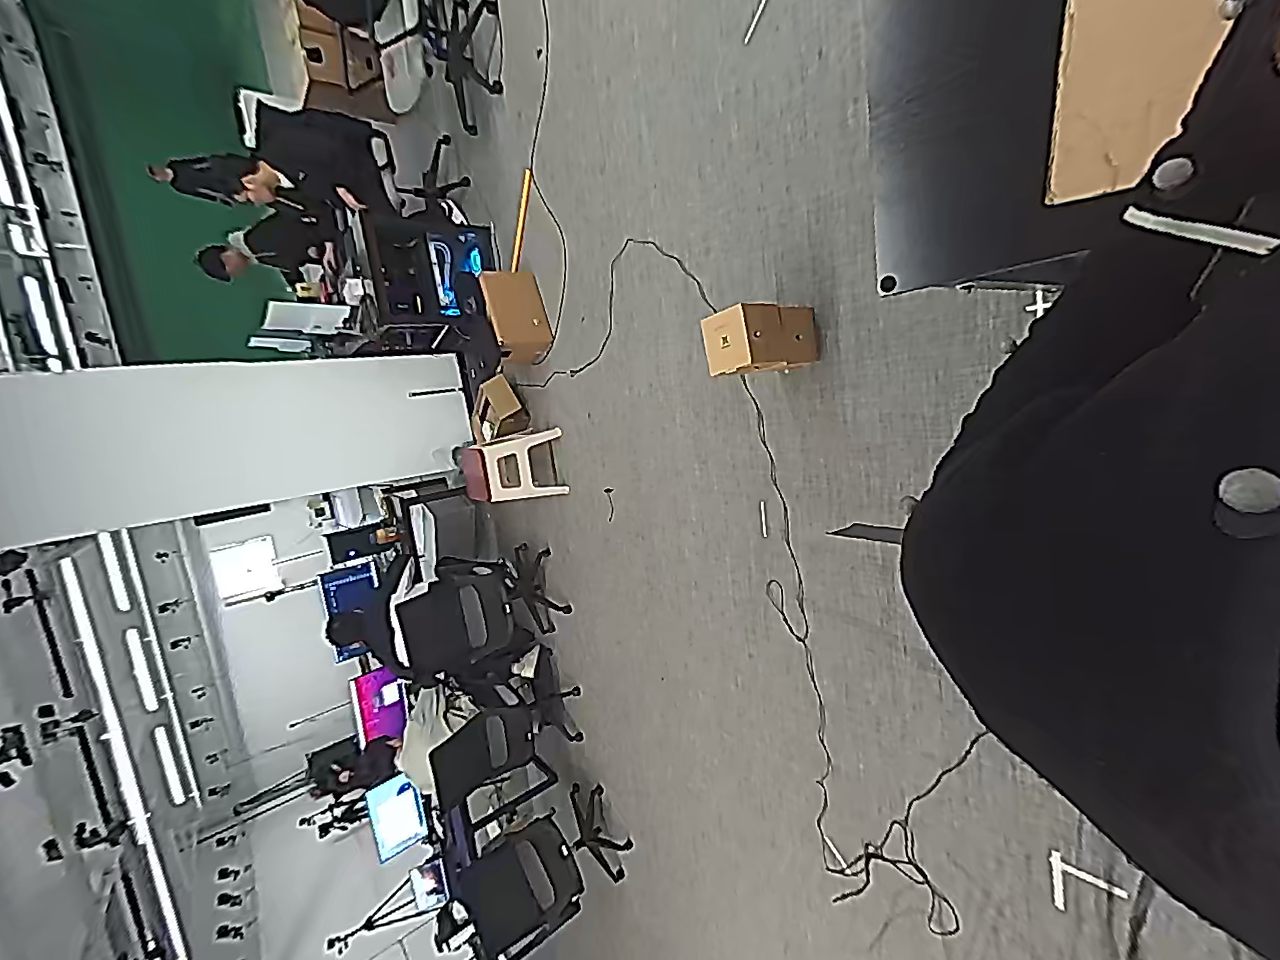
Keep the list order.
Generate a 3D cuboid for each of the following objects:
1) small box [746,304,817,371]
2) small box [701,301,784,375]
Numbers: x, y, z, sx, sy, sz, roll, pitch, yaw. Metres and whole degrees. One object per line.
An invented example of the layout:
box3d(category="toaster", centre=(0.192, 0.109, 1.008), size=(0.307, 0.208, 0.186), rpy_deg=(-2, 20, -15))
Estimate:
box3d(category="small box", centre=(0.439, -0.449, 1.712), size=(0.168, 0.176, 0.179), rpy_deg=(-2, 100, 53))
box3d(category="small box", centre=(0.310, -0.423, 1.615), size=(0.168, 0.176, 0.179), rpy_deg=(-7, 94, 52))
